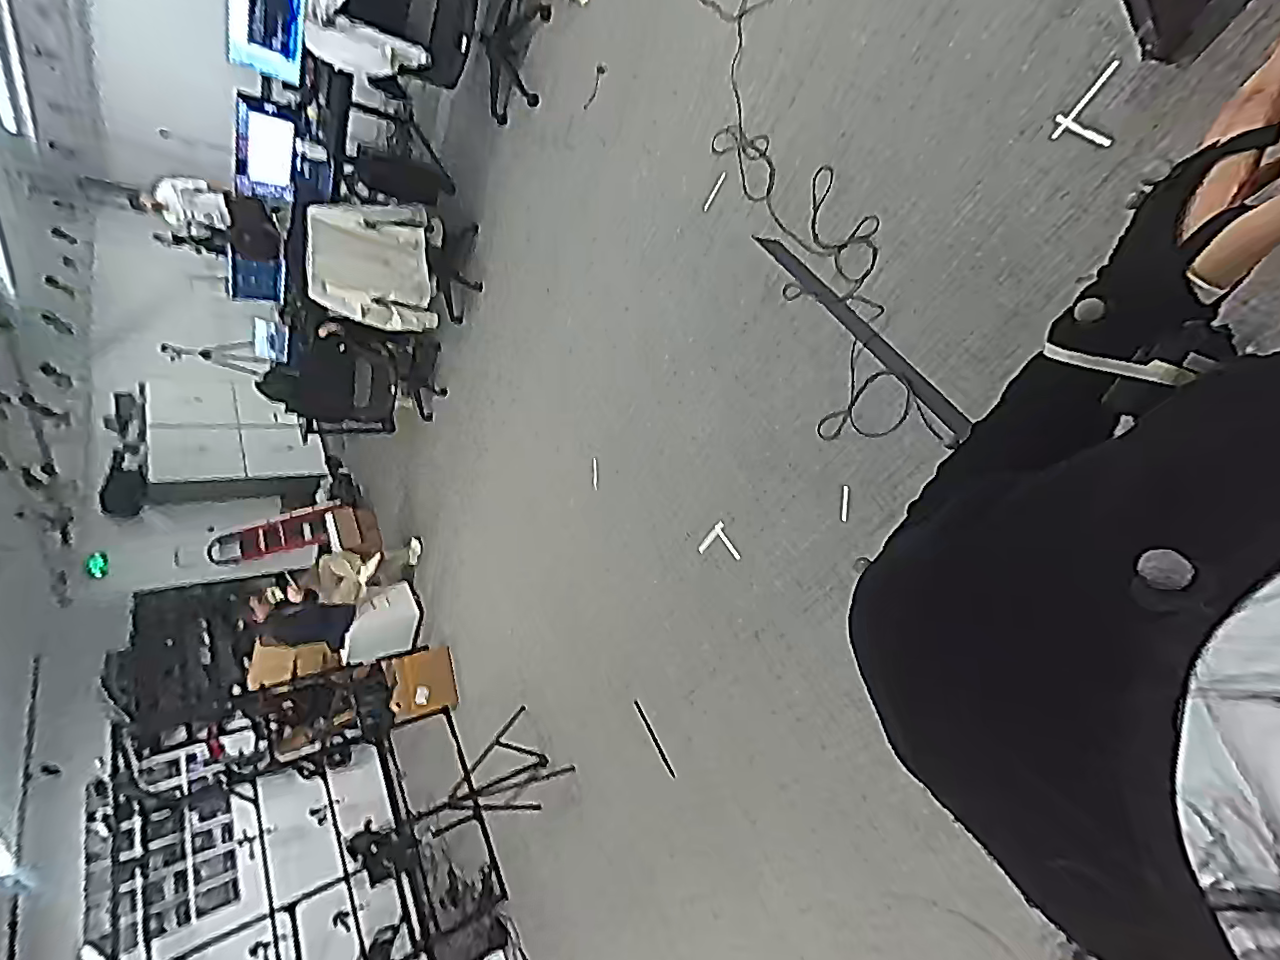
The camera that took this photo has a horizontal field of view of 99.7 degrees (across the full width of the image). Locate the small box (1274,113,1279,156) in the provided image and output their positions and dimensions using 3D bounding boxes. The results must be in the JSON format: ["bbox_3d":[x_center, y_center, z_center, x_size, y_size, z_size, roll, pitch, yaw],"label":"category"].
[{"bbox_3d":[0.441,-0.251,0.244,0.179,0.176,0.168,13,115,49],"label":"small box"}]
